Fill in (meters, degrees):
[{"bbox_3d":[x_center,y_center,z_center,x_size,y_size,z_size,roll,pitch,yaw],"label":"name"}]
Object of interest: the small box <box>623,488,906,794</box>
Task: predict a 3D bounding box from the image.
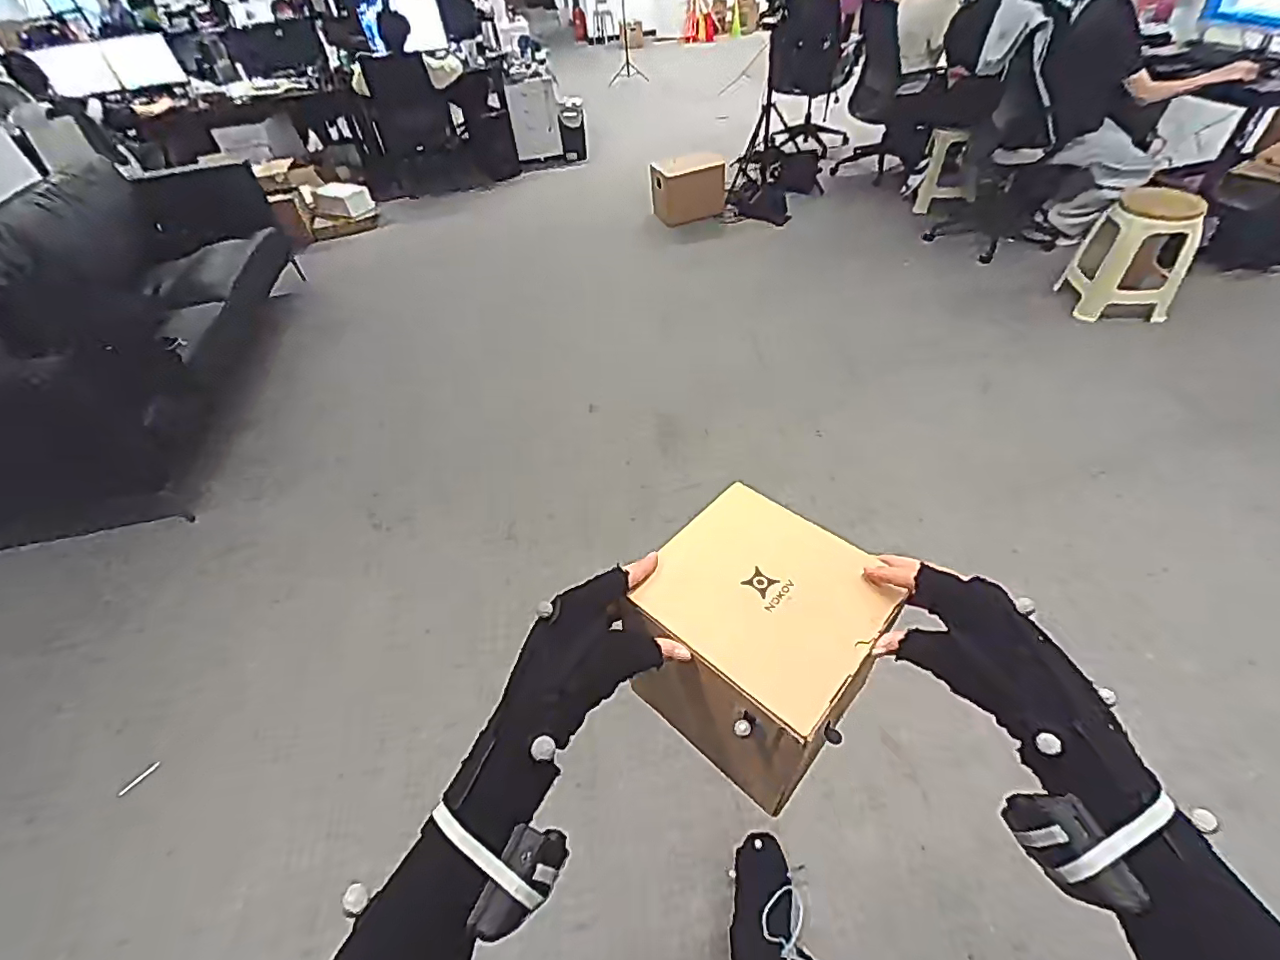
[{"bbox_3d":[0.102,0.145,0.497,0.179,0.176,0.168,32,53,30],"label":"small box"}]
